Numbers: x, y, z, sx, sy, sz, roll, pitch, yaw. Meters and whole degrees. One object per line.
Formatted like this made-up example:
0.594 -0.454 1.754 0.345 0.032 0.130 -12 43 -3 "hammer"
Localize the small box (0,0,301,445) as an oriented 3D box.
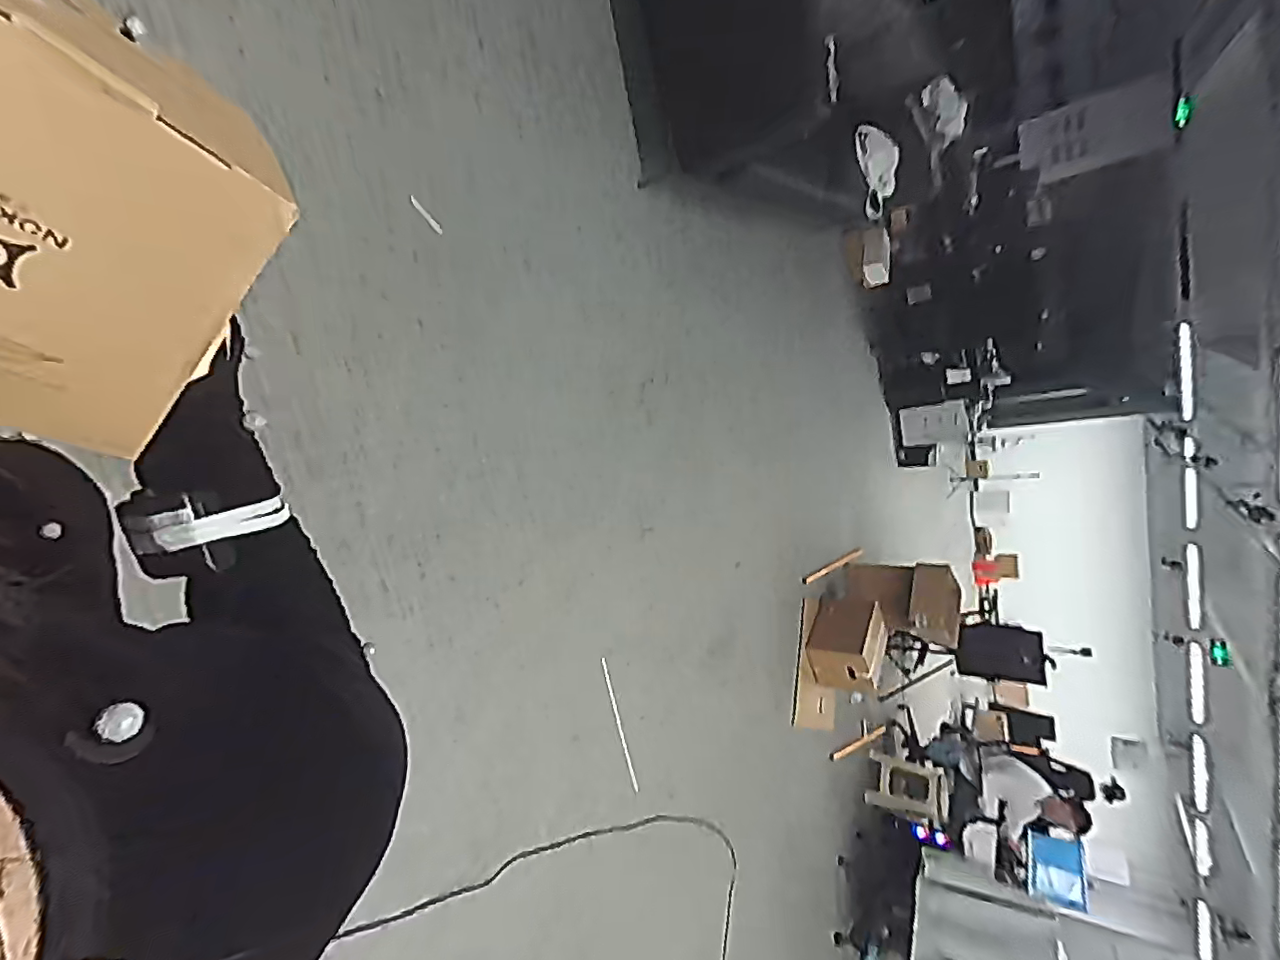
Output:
-0.314 -0.155 0.276 0.179 0.176 0.168 -49 141 9 "small box"
